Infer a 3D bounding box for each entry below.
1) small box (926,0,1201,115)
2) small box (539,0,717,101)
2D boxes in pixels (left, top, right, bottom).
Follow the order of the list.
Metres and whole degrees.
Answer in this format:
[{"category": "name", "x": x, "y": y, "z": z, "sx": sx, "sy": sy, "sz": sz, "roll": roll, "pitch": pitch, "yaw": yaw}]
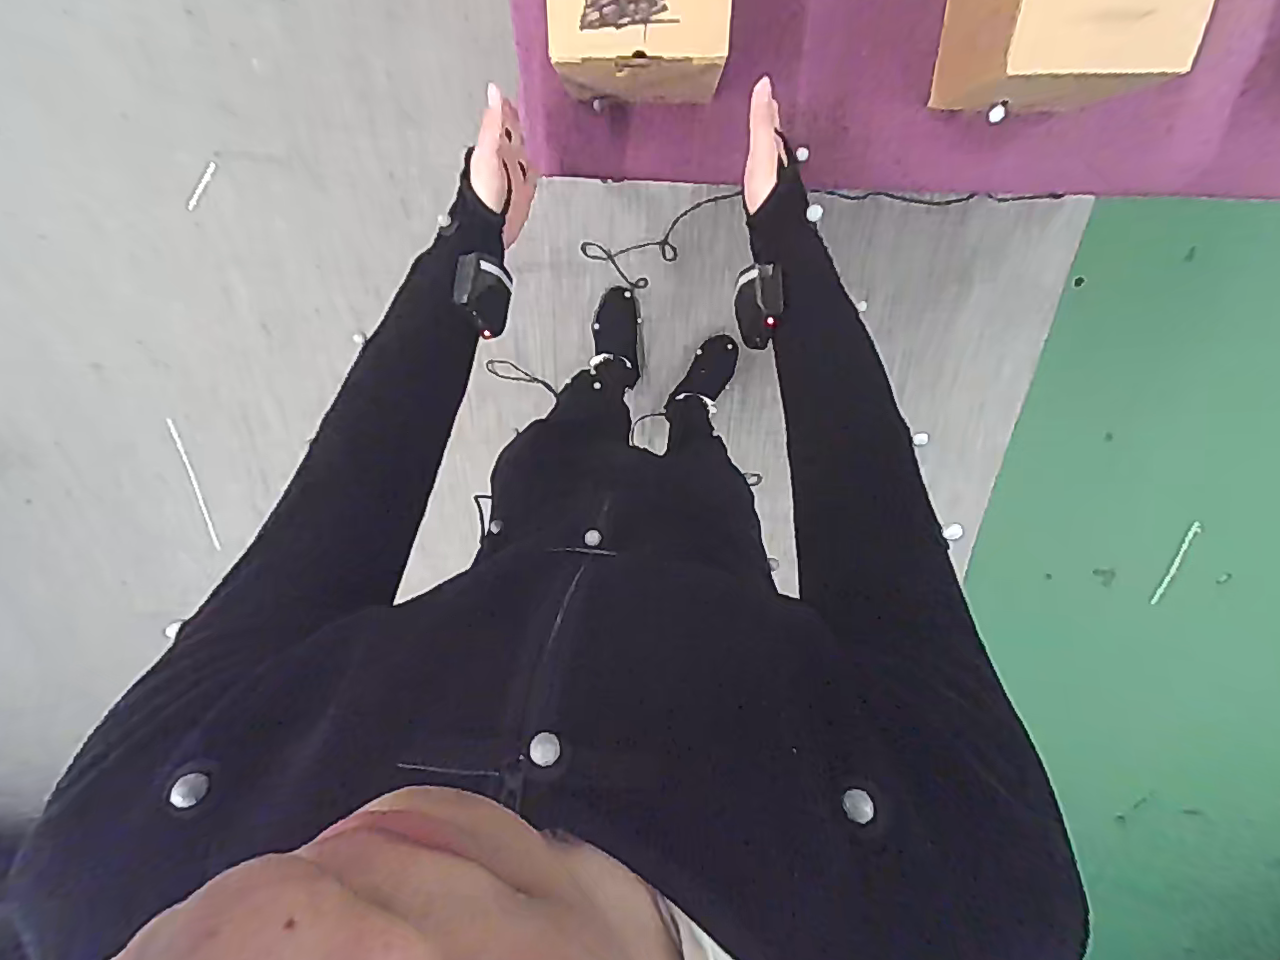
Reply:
[{"category": "small box", "x": 0.411, "y": -0.482, "z": 0.533, "sx": 0.168, "sy": 0.176, "sz": 0.179, "roll": 2, "pitch": 115, "yaw": 3}, {"category": "small box", "x": -0.006, "y": -0.500, "z": 0.544, "sx": 0.168, "sy": 0.176, "sz": 0.179, "roll": 1, "pitch": 114, "yaw": 2}]
